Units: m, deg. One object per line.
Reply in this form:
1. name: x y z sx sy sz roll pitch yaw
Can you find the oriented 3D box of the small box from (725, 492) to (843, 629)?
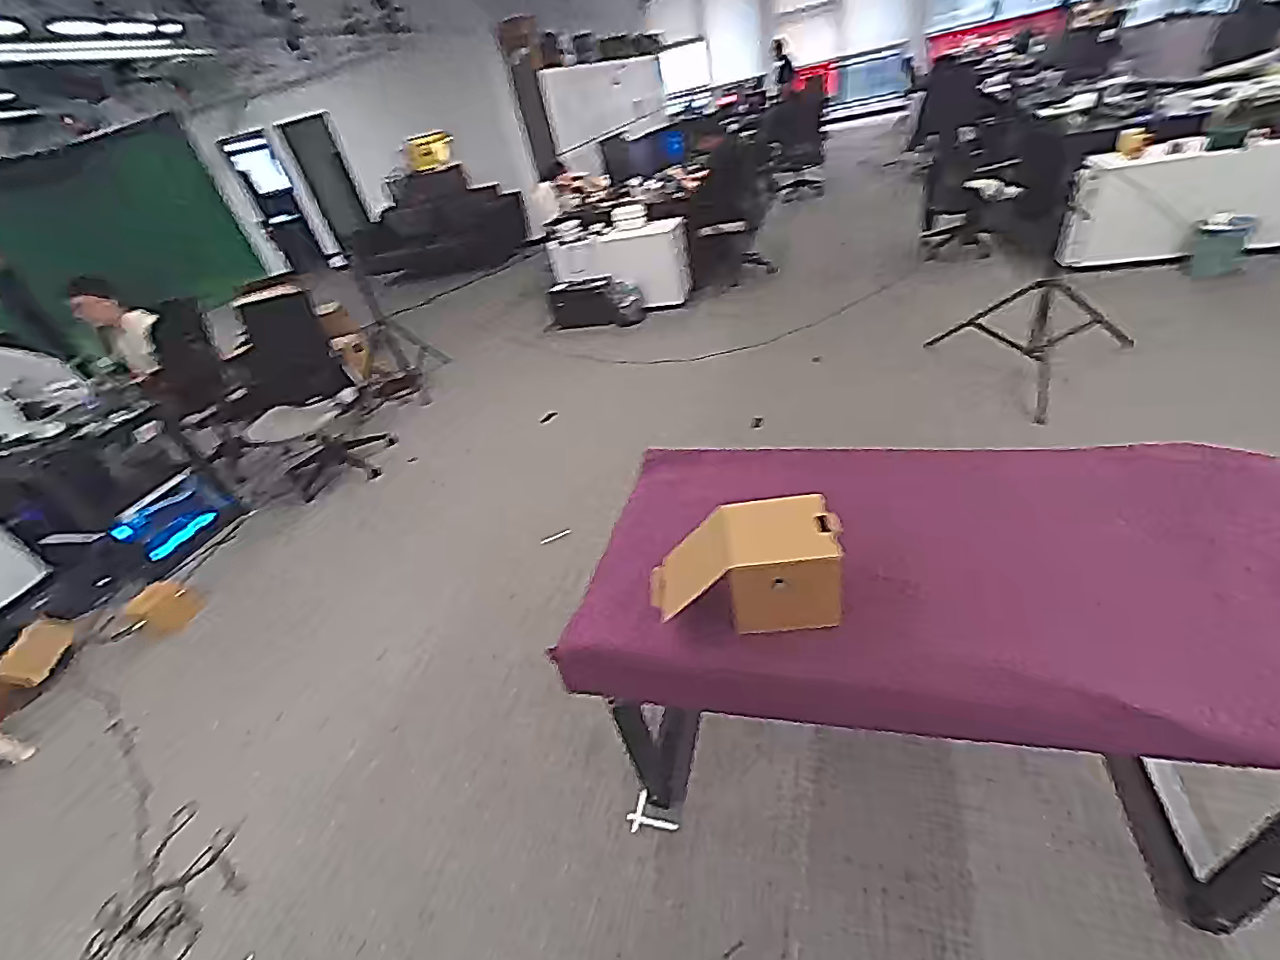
1. small box: 0.249 0.143 0.947 0.179 0.176 0.168 -7 36 9
